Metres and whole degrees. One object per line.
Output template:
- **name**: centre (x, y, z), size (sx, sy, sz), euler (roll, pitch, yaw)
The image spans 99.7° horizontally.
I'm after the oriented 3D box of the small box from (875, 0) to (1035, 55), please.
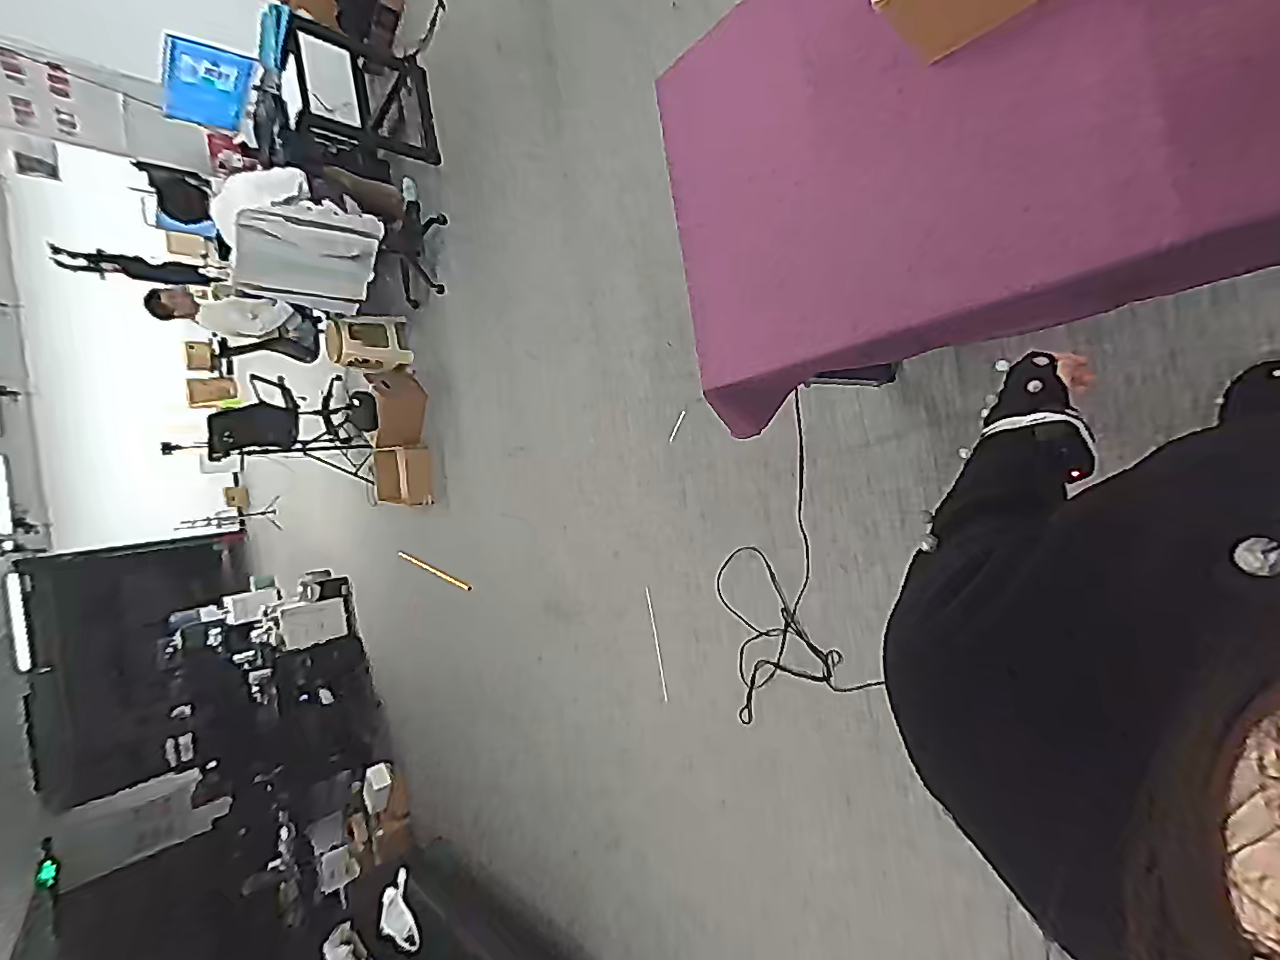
- **small box**: centre (0.368, -0.624, 0.592), size (0.179, 0.176, 0.168), euler (-5, 93, 46)
